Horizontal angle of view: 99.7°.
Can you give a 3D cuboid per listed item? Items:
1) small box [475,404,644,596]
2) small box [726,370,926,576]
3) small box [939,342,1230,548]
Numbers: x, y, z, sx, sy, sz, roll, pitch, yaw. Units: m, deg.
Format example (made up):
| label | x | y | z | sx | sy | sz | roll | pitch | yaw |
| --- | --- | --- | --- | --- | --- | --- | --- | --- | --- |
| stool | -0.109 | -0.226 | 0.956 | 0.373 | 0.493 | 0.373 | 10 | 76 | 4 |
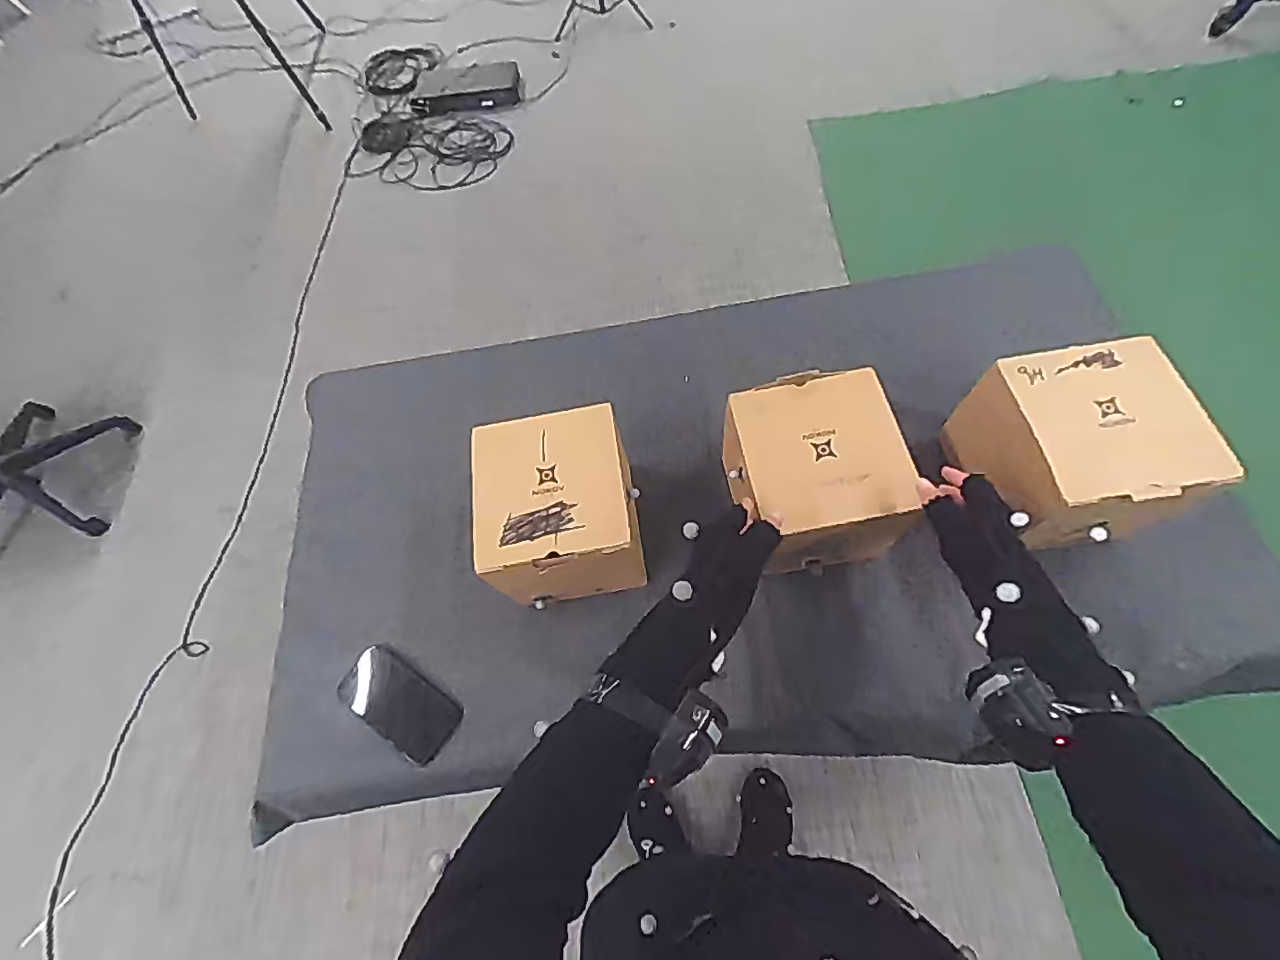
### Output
| label | x | y | z | sx | sy | sz | roll | pitch | yaw |
| --- | --- | --- | --- | --- | --- | --- | --- | --- | --- |
| small box | -0.091 | 0.036 | 0.660 | 0.168 | 0.176 | 0.179 | -10 | 64 | 1 |
| small box | 0.201 | -0.001 | 0.647 | 0.168 | 0.176 | 0.179 | -11 | 66 | 2 |
| small box | 0.483 | -0.028 | 0.625 | 0.168 | 0.176 | 0.179 | -8 | 65 | 3 |
